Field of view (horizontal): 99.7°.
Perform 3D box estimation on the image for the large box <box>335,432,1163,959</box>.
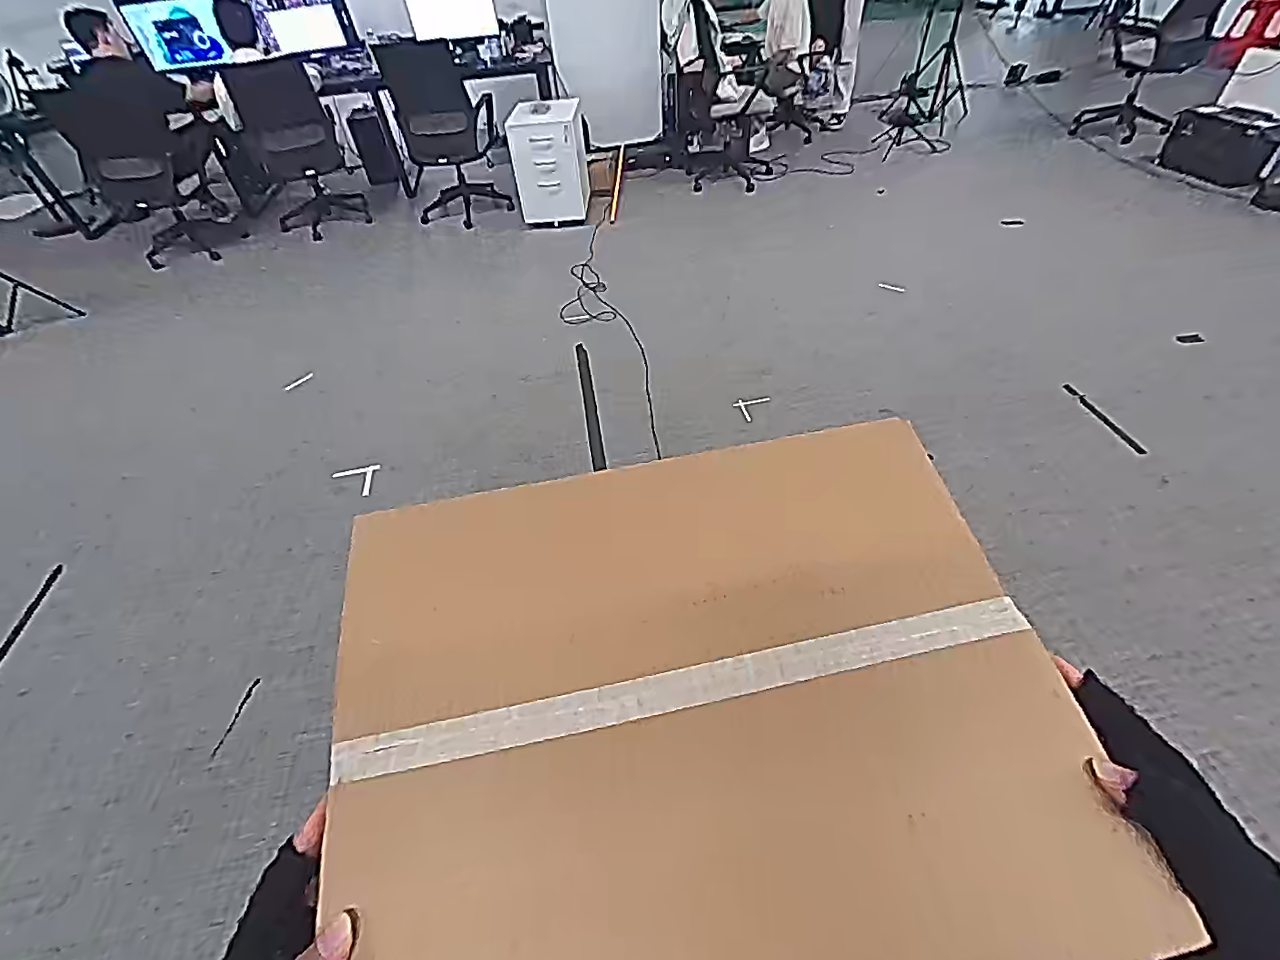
[{"bbox_3d":[0.036,0.205,0.445,0.408,0.320,0.320,-11,58,-4],"label":"large box"}]
